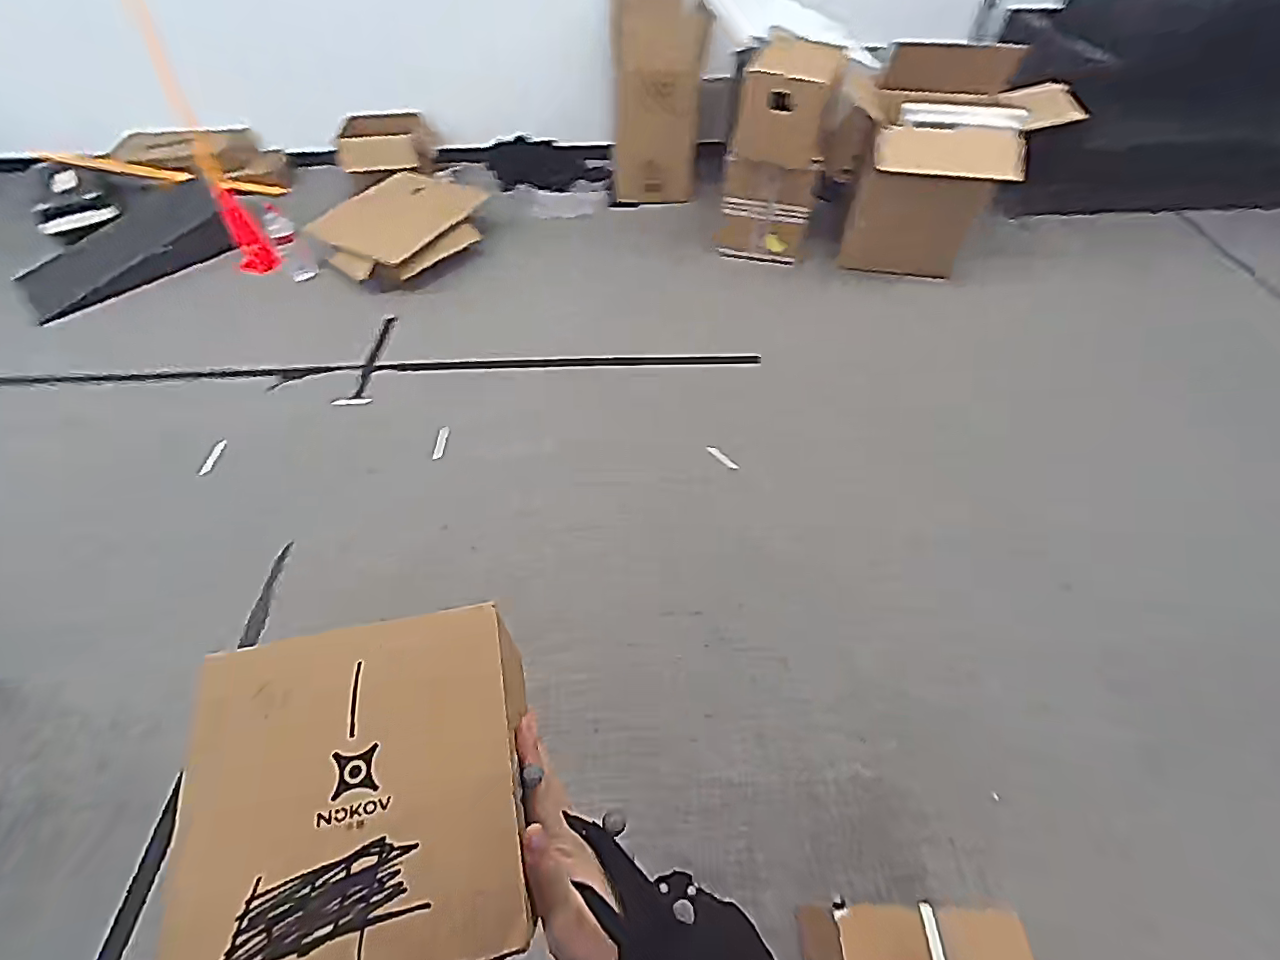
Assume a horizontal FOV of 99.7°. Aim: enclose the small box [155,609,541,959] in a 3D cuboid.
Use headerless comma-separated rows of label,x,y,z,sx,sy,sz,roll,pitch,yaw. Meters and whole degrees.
small box,-0.162,0.207,0.357,0.168,0.176,0.179,-9,60,-12
